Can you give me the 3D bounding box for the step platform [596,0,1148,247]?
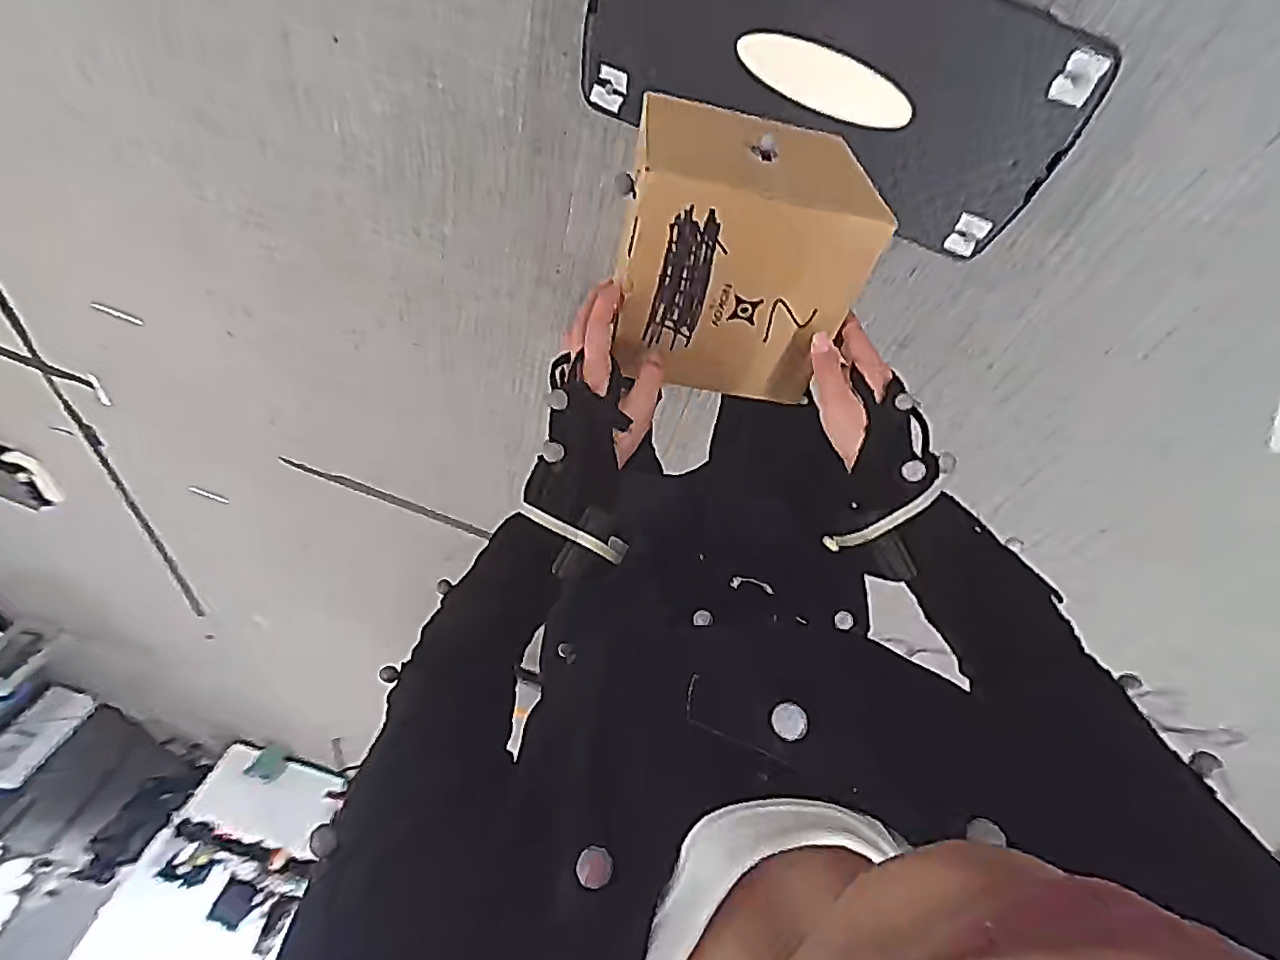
[{"bbox_3d":[0.285,-0.597,0.762,0.684,0.204,0.286,22,134,-2],"label":"step platform"}]
